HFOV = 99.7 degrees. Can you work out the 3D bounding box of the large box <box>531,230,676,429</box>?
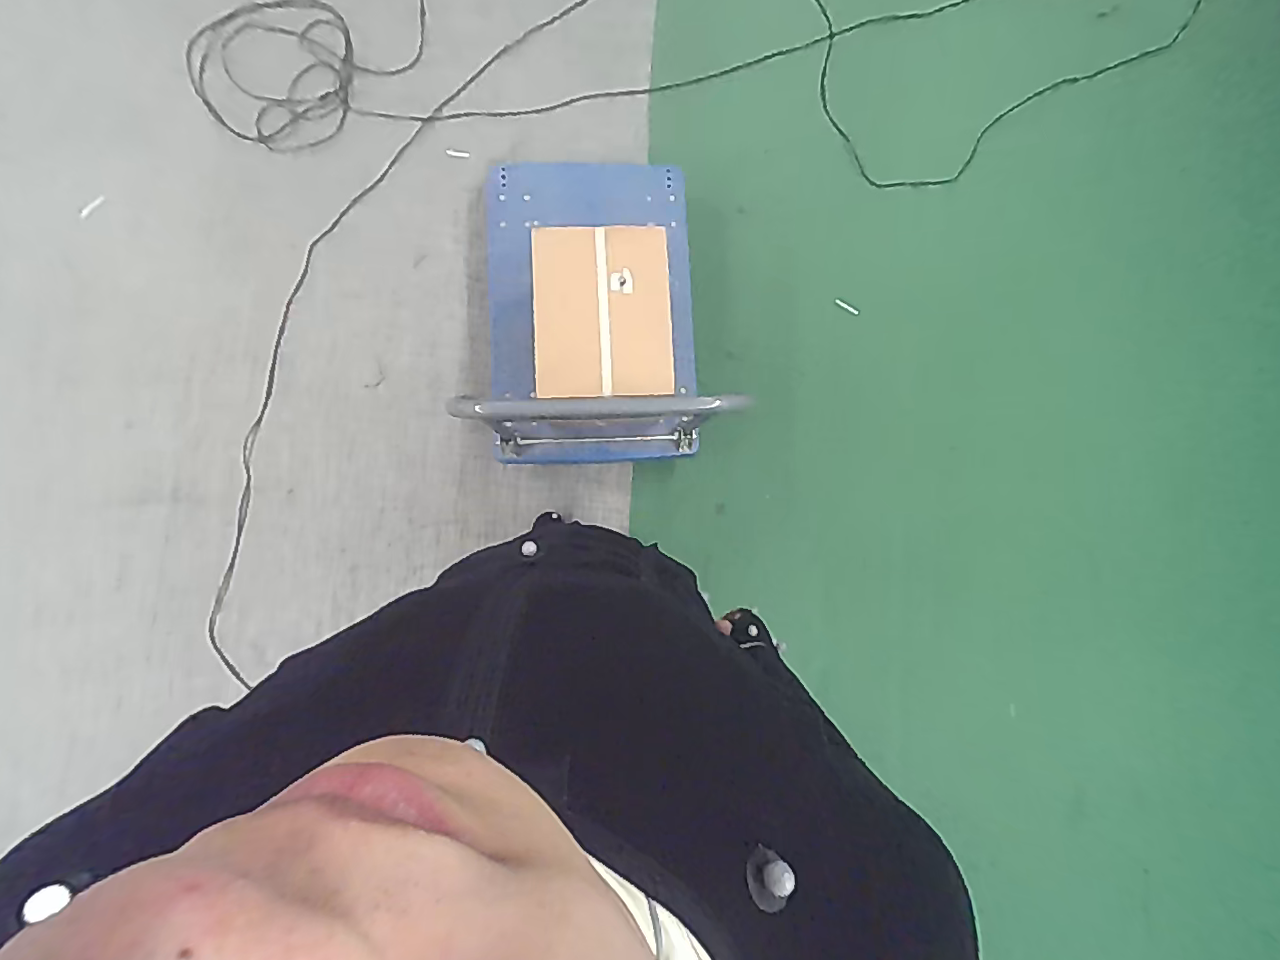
[{"bbox_3d":[-0.095,-0.362,1.376,0.320,0.320,0.408,-2,83,-6],"label":"large box"}]
